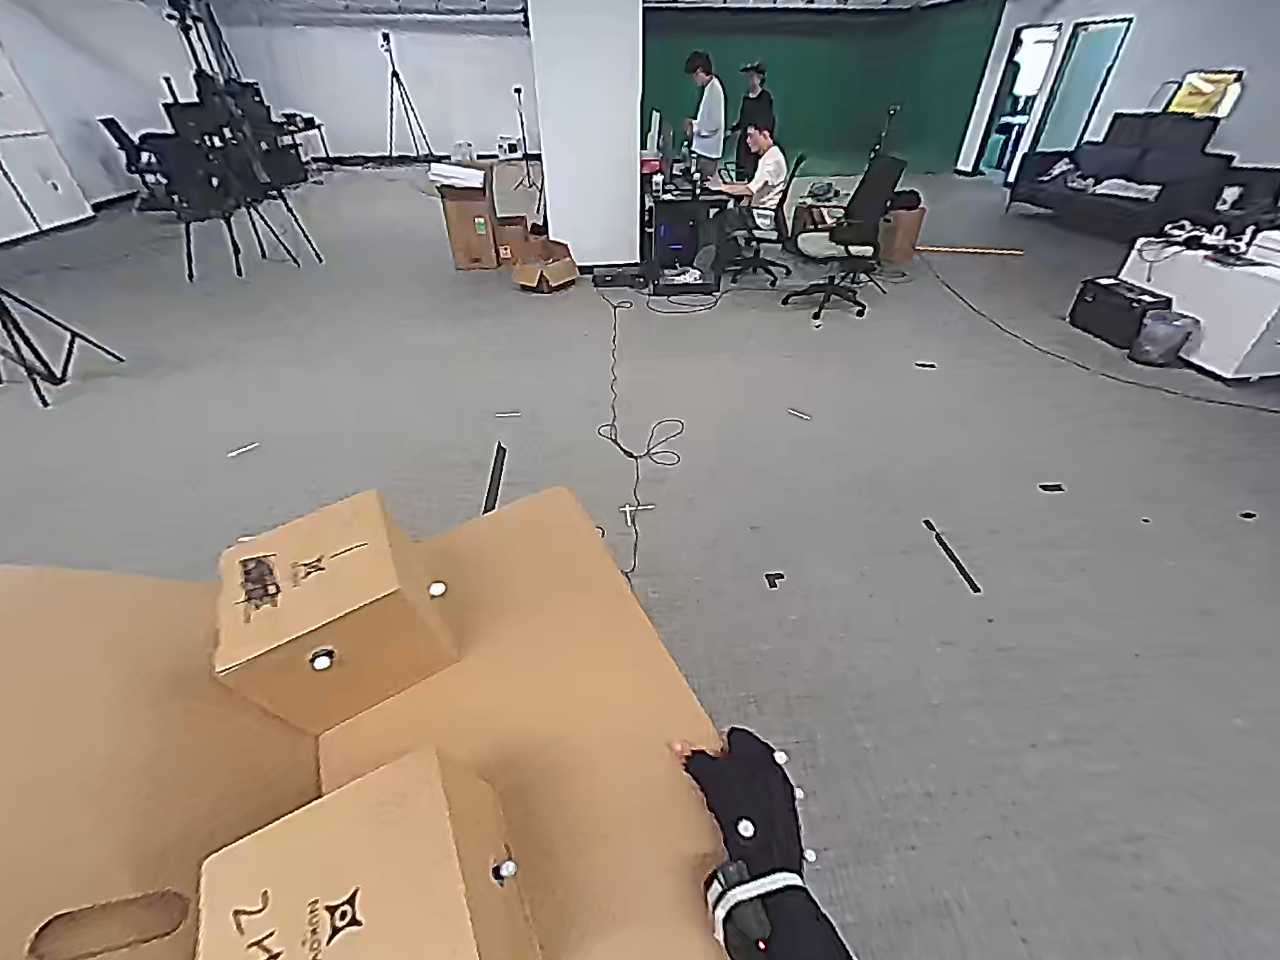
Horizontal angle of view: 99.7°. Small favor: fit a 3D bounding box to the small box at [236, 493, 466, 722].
[{"bbox_3d":[-0.334,0.154,0.644,0.179,0.176,0.168,-24,48,-14],"label":"small box"}]
